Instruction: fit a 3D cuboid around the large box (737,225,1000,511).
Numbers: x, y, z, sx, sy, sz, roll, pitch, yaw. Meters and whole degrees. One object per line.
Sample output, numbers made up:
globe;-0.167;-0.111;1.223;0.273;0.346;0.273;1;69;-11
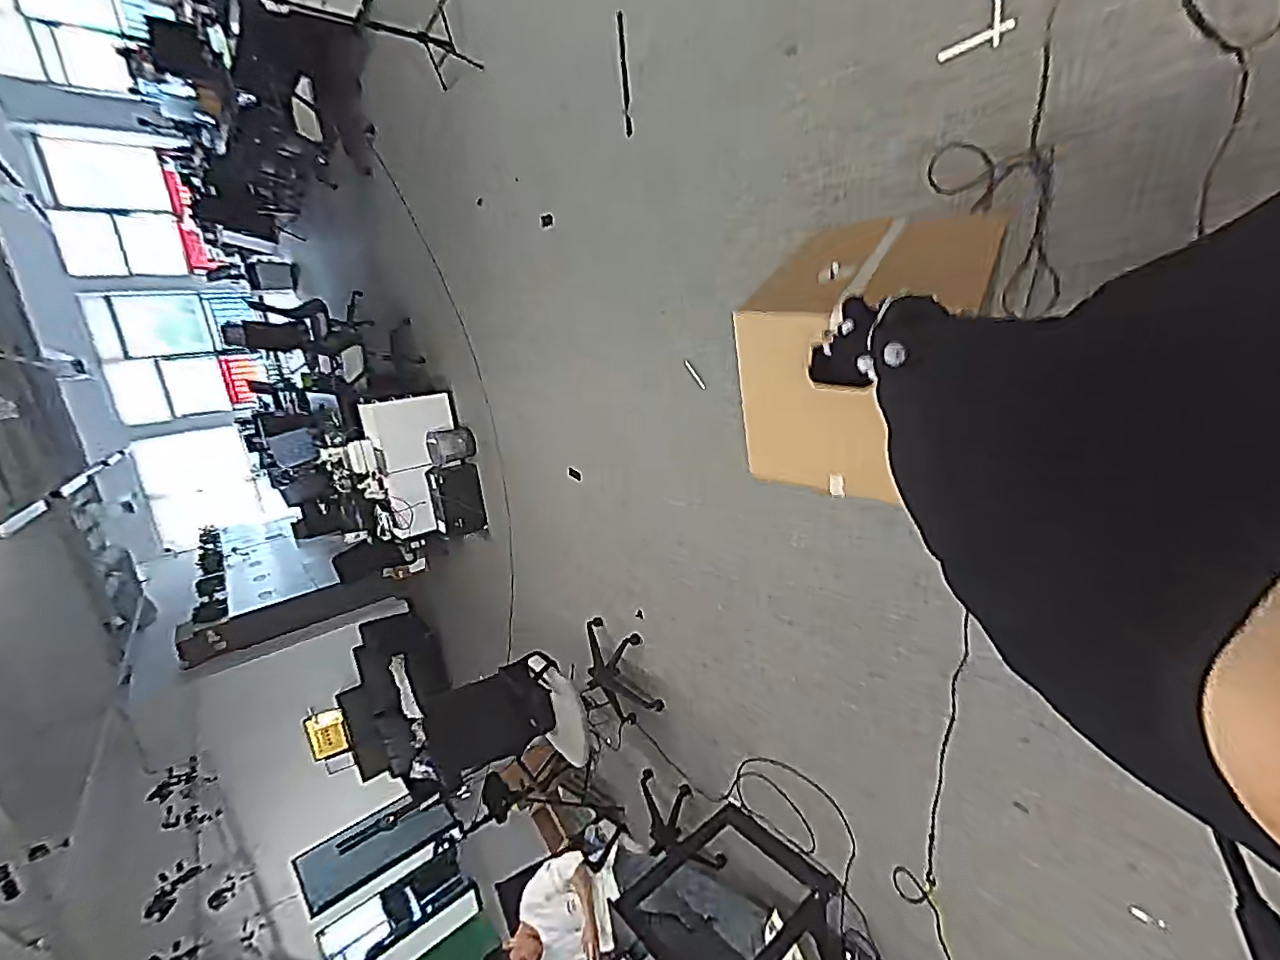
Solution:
large box;0.402;-0.209;0.937;0.320;0.408;0.320;10;133;33
